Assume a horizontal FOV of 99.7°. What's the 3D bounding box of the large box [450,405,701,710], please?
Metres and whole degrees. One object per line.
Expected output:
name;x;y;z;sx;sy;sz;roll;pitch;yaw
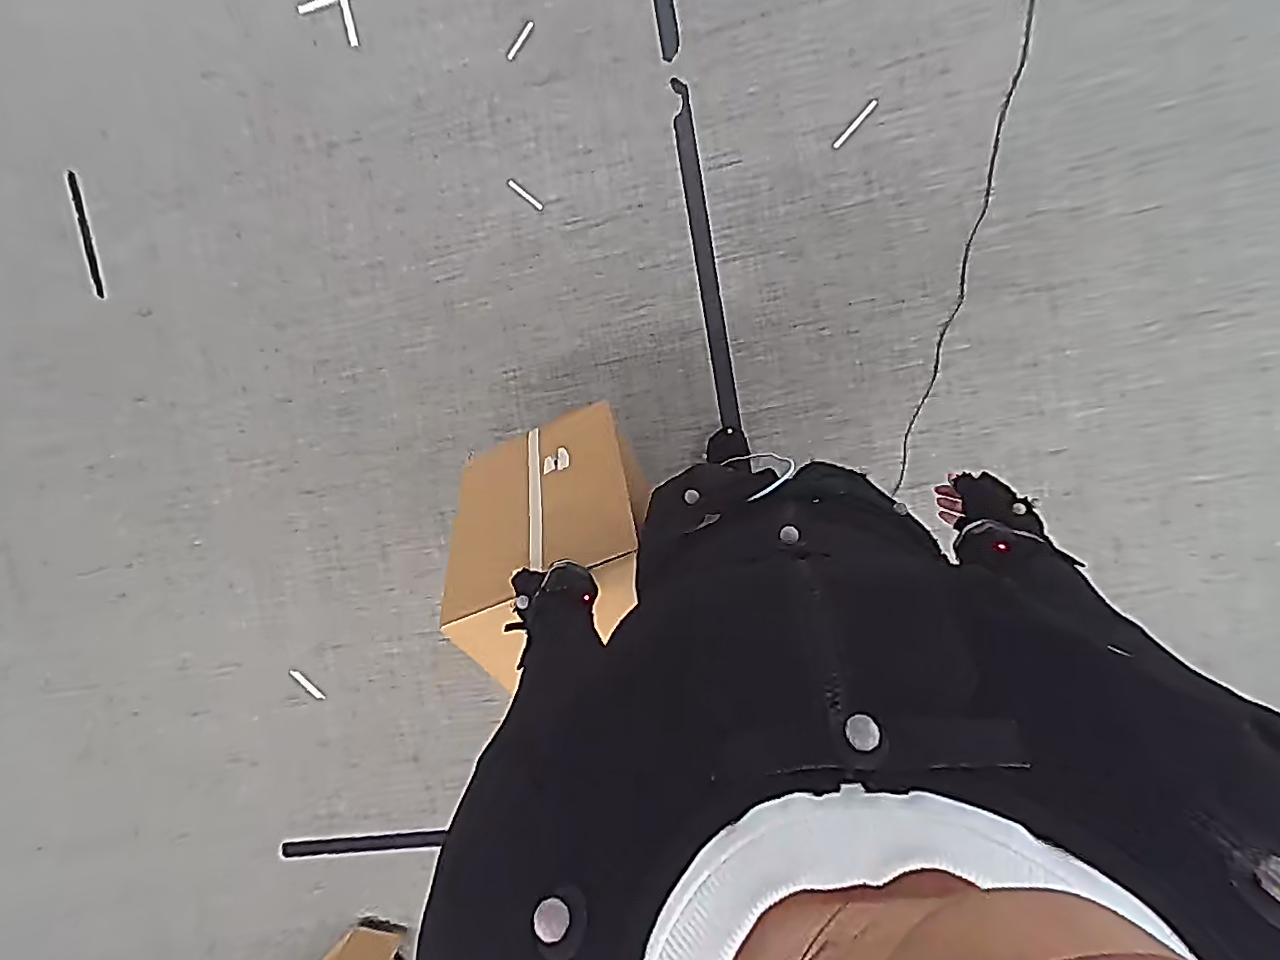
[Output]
large box;-0.115;0.134;1.003;0.320;0.408;0.320;-21;129;5
